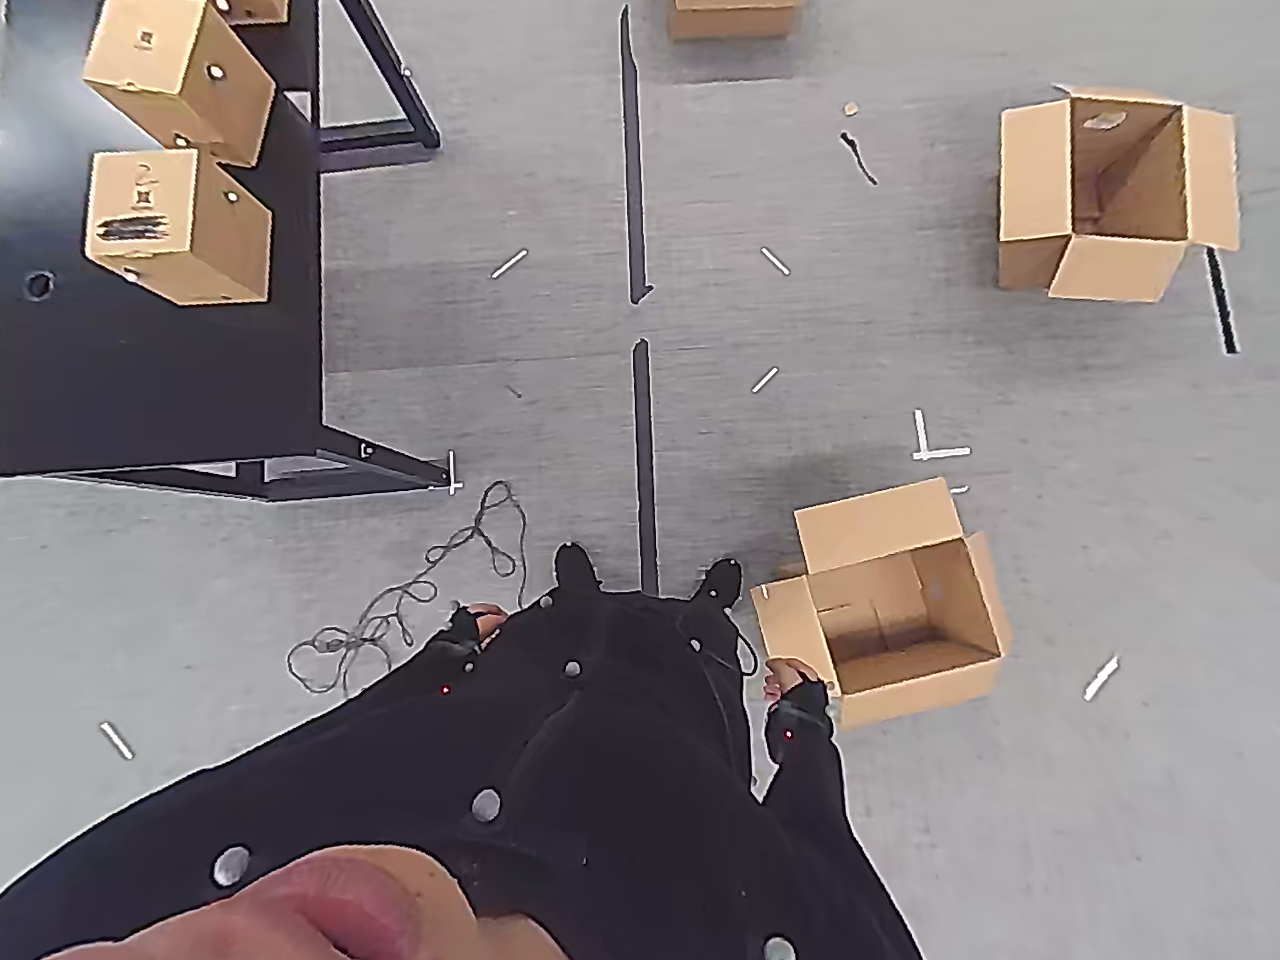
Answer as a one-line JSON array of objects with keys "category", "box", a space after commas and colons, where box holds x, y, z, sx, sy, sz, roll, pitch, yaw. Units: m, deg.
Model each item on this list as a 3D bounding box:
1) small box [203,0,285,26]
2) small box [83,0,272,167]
[{"category": "small box", "box": [-0.765, -0.967, 0.967, 0.168, 0.176, 0.179, -2, 85, 2]}, {"category": "small box", "box": [-0.786, -0.689, 0.941, 0.168, 0.176, 0.179, 9, 85, 3]}]
